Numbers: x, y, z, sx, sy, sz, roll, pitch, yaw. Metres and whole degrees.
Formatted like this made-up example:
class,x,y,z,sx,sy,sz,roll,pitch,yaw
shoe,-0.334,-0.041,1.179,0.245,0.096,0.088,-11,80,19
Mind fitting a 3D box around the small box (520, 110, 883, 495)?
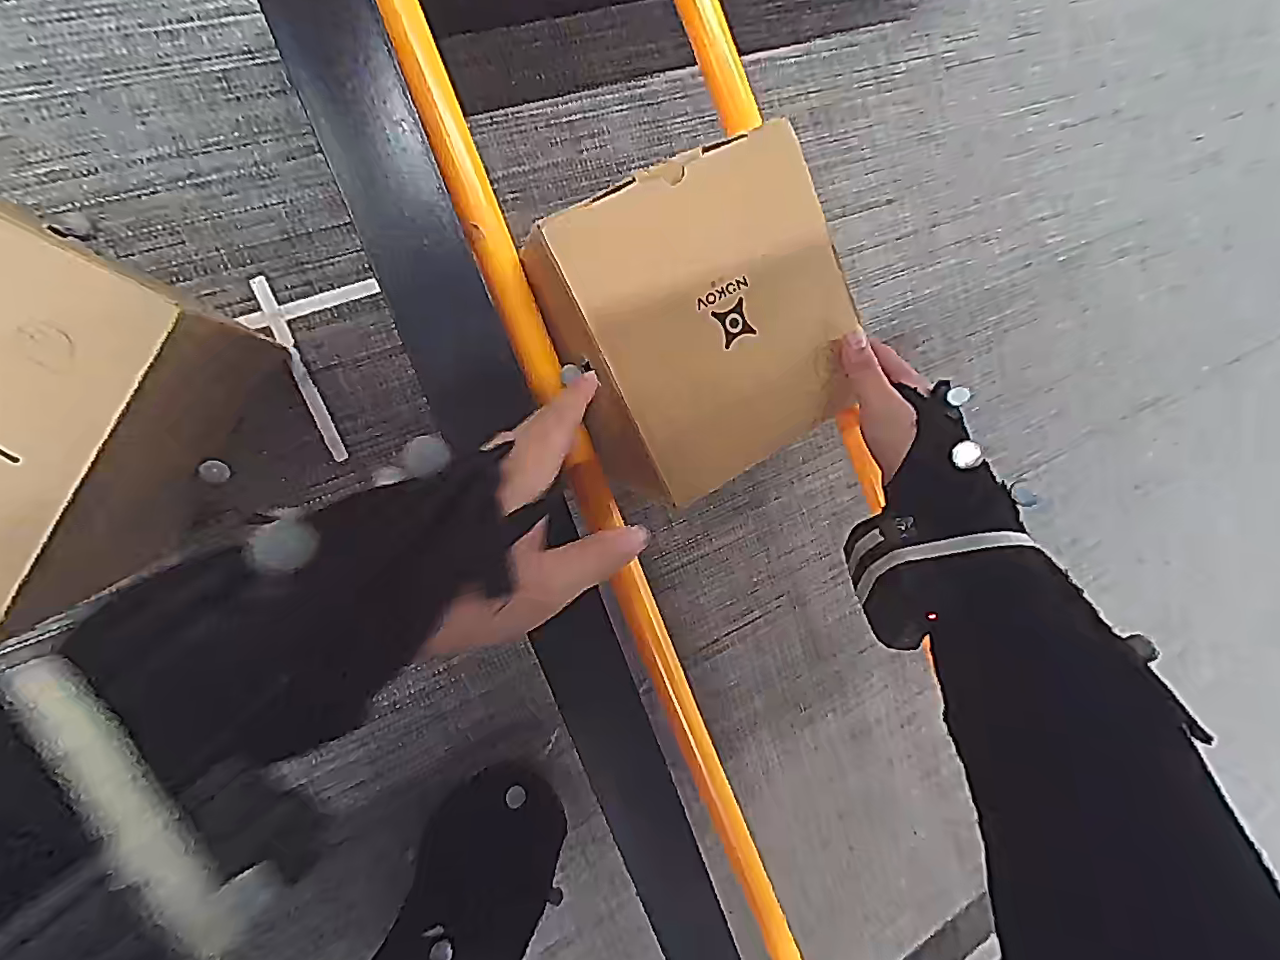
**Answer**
class,x,y,z,sx,sy,sz,roll,pitch,yaw
small box,0.031,-0.113,0.392,0.168,0.176,0.179,-30,105,-14
